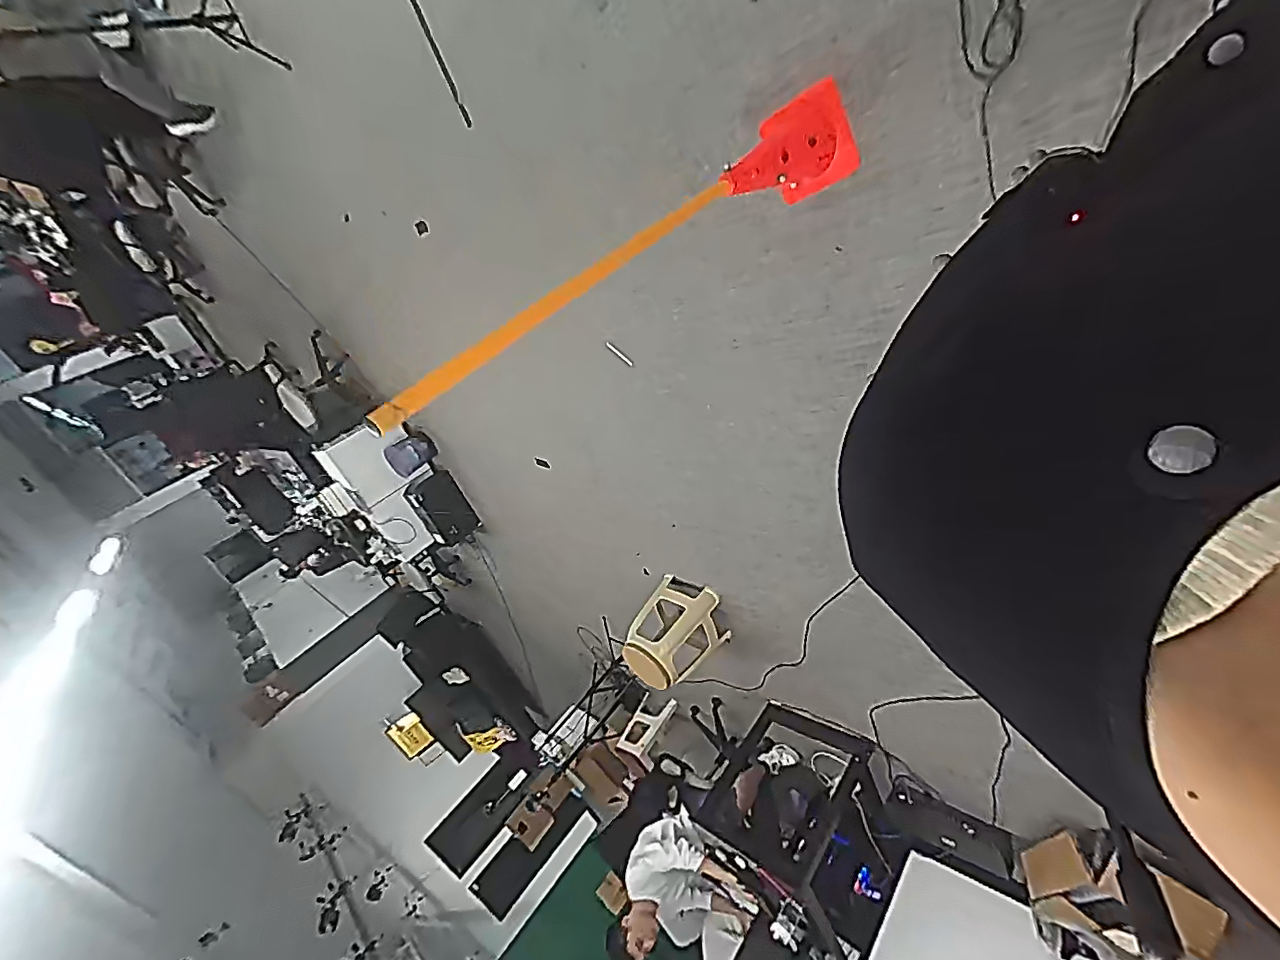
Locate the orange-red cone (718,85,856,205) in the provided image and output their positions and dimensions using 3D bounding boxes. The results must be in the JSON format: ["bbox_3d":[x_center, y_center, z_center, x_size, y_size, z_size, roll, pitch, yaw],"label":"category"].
[{"bbox_3d":[0.276,-0.667,1.151,0.199,0.360,0.198,-4,121,50],"label":"orange-red cone"}]
